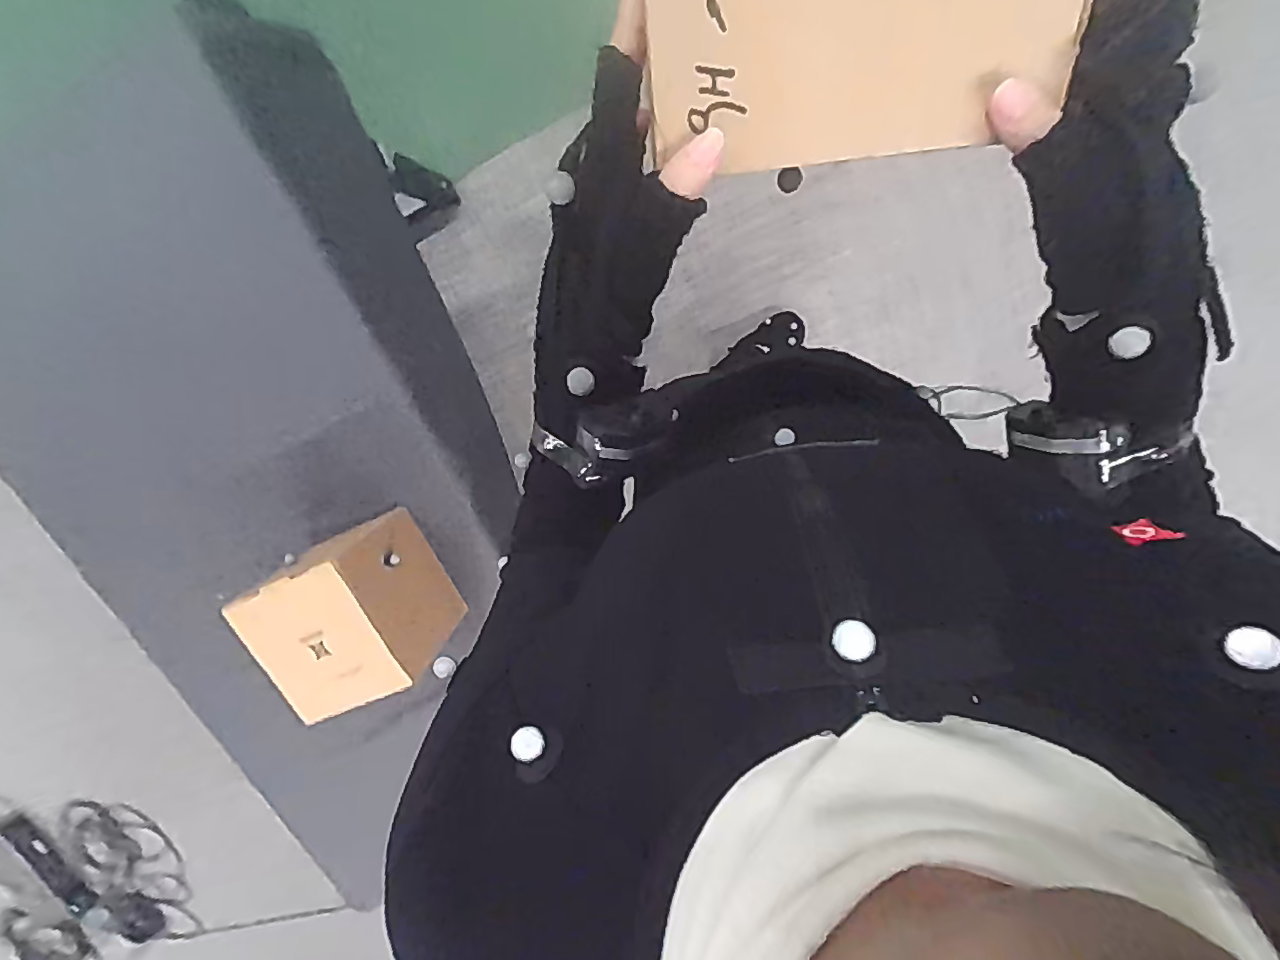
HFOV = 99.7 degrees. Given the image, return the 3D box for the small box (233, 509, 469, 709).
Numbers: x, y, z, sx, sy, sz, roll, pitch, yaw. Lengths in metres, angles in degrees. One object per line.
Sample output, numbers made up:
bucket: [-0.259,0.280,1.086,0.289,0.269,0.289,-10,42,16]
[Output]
small box: [-0.361,0.156,0.709,0.168,0.176,0.179,-23,106,14]

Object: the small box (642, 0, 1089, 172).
small box: [0.090,-0.255,0.270,0.179,0.176,0.168,-4,119,3]
